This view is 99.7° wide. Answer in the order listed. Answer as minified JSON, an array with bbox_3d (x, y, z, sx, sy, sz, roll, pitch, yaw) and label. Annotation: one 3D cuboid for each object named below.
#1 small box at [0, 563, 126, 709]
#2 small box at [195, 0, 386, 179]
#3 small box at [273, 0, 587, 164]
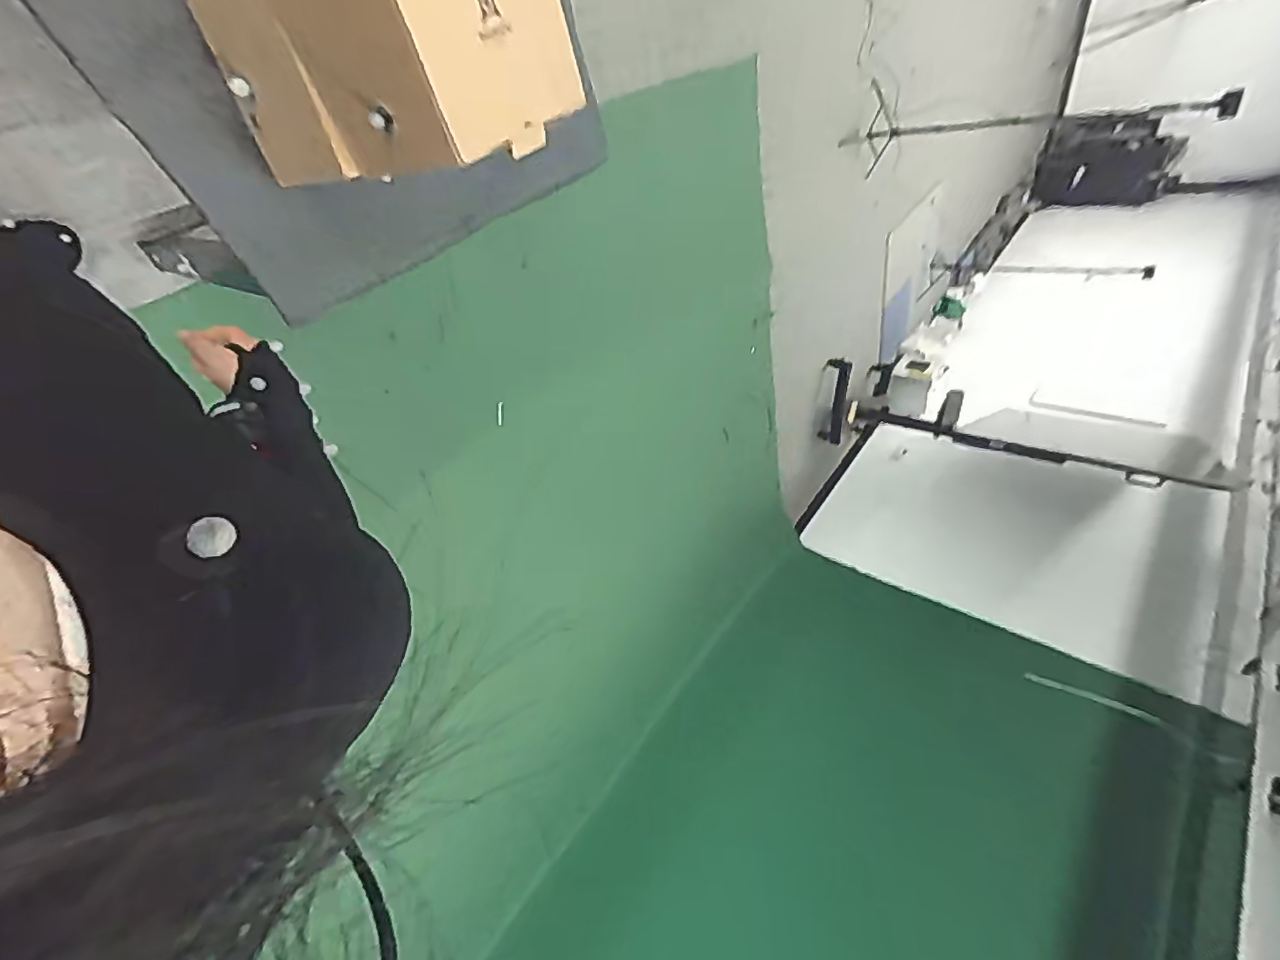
[{"bbox_3d":[-1.168,0.294,1.052,0.179,0.176,0.168,-39,135,-34],"label":"small box"},{"bbox_3d":[-0.303,-0.424,0.561,0.179,0.176,0.168,-41,135,-34],"label":"small box"},{"bbox_3d":[-0.180,-0.390,0.460,0.168,0.176,0.179,-49,138,-30],"label":"small box"}]
